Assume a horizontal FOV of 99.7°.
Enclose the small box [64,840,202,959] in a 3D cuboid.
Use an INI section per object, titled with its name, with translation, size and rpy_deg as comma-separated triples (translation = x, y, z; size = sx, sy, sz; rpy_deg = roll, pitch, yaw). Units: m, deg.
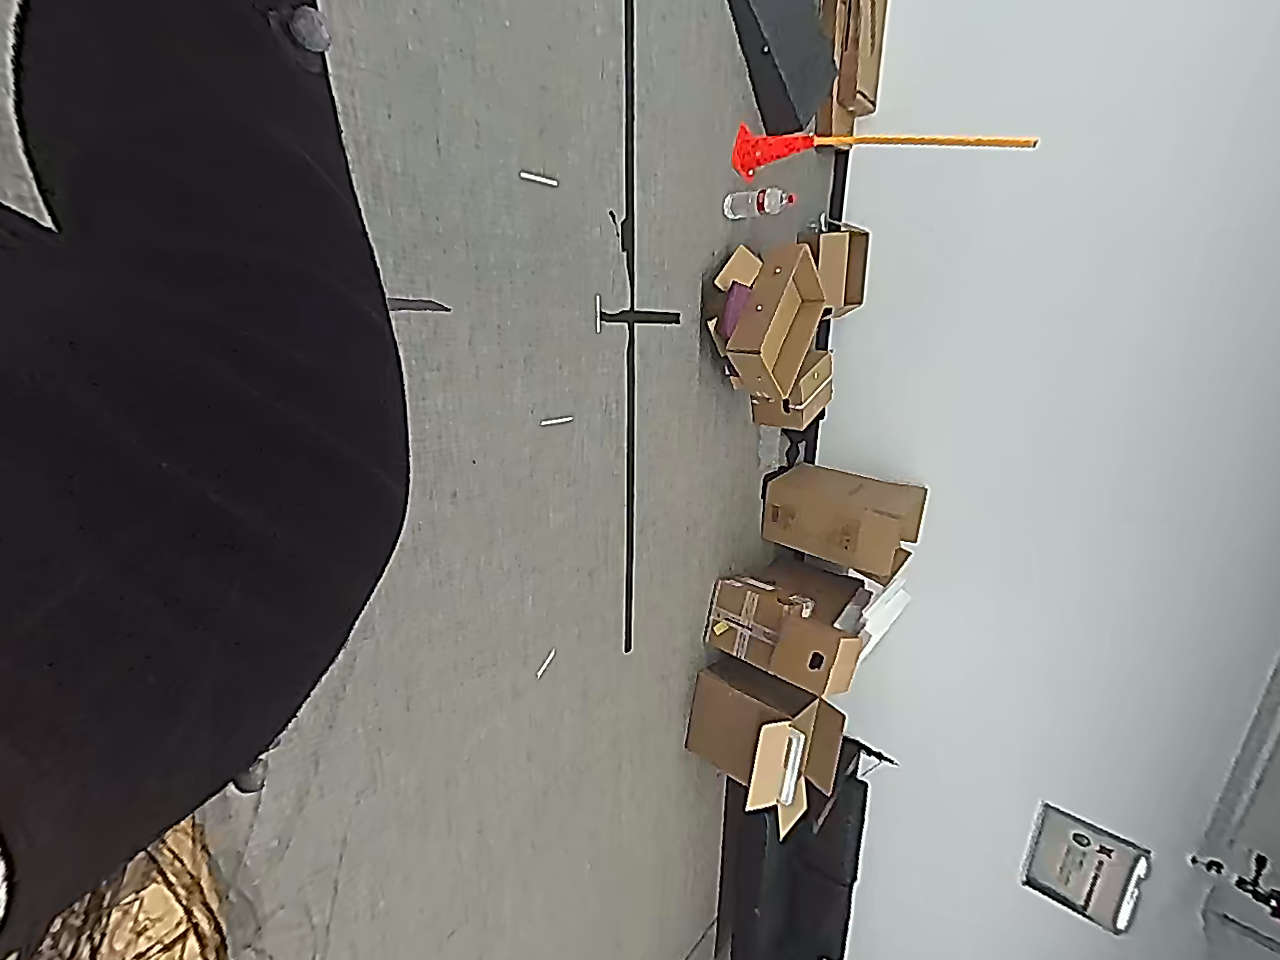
[small box]
translation = -1.132, 0.954, 1.209
size = 0.168, 0.176, 0.179
rpy_deg = -30, 123, -44
